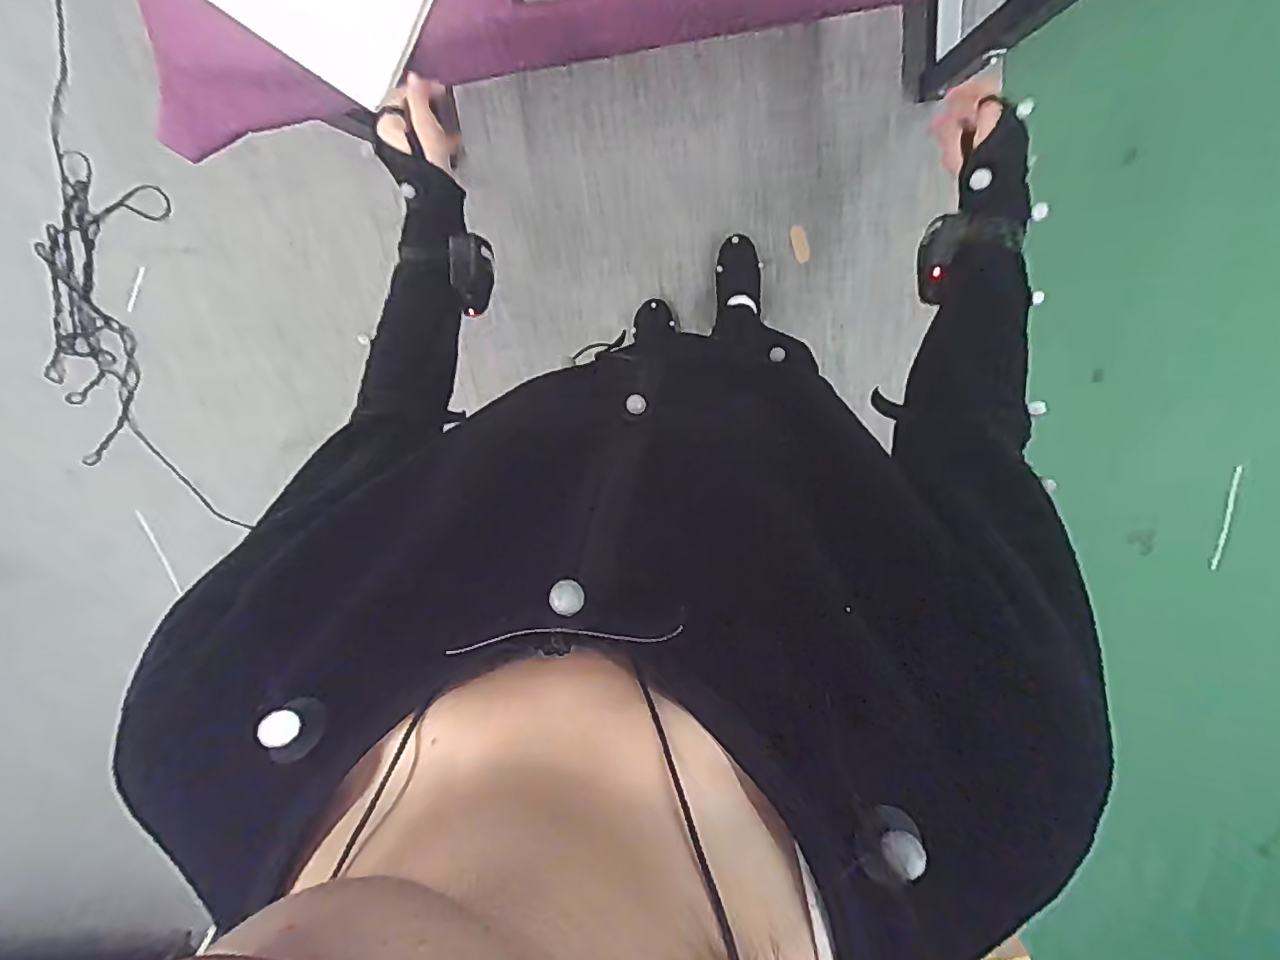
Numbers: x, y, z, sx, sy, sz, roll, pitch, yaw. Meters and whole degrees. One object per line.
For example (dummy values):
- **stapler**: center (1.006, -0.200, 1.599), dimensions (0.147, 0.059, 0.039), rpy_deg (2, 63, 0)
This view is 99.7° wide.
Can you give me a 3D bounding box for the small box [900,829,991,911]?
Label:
- **small box**: center (0.816, 1.063, 1.435), dimensions (0.168, 0.176, 0.179), rpy_deg (-19, 106, 11)
